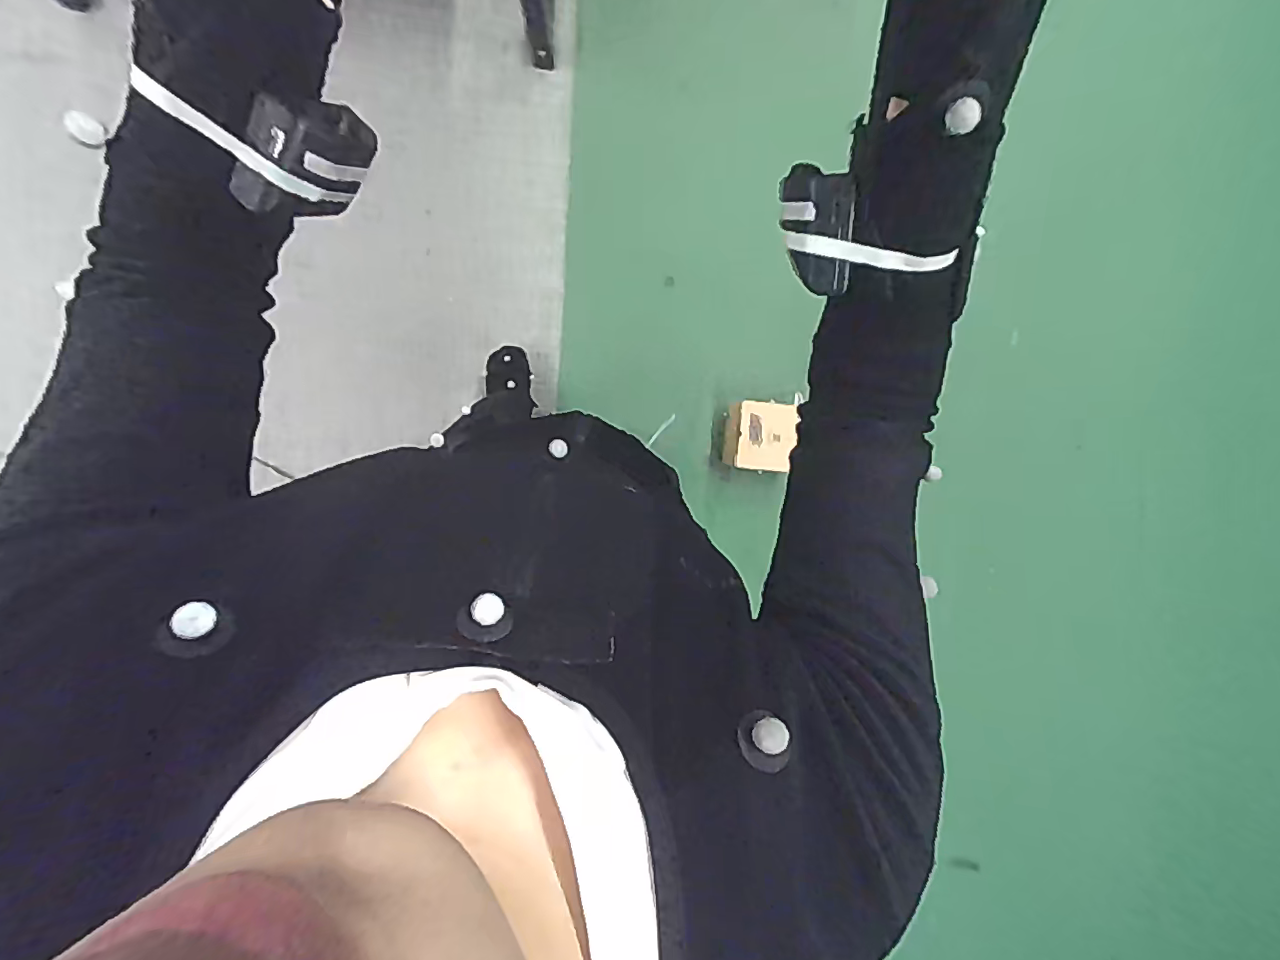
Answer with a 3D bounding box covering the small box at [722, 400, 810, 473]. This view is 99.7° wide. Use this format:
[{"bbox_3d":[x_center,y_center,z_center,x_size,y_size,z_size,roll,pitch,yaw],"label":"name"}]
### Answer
[{"bbox_3d":[0.320,-0.113,1.409,0.179,0.176,0.168,6,95,-4],"label":"small box"}]
